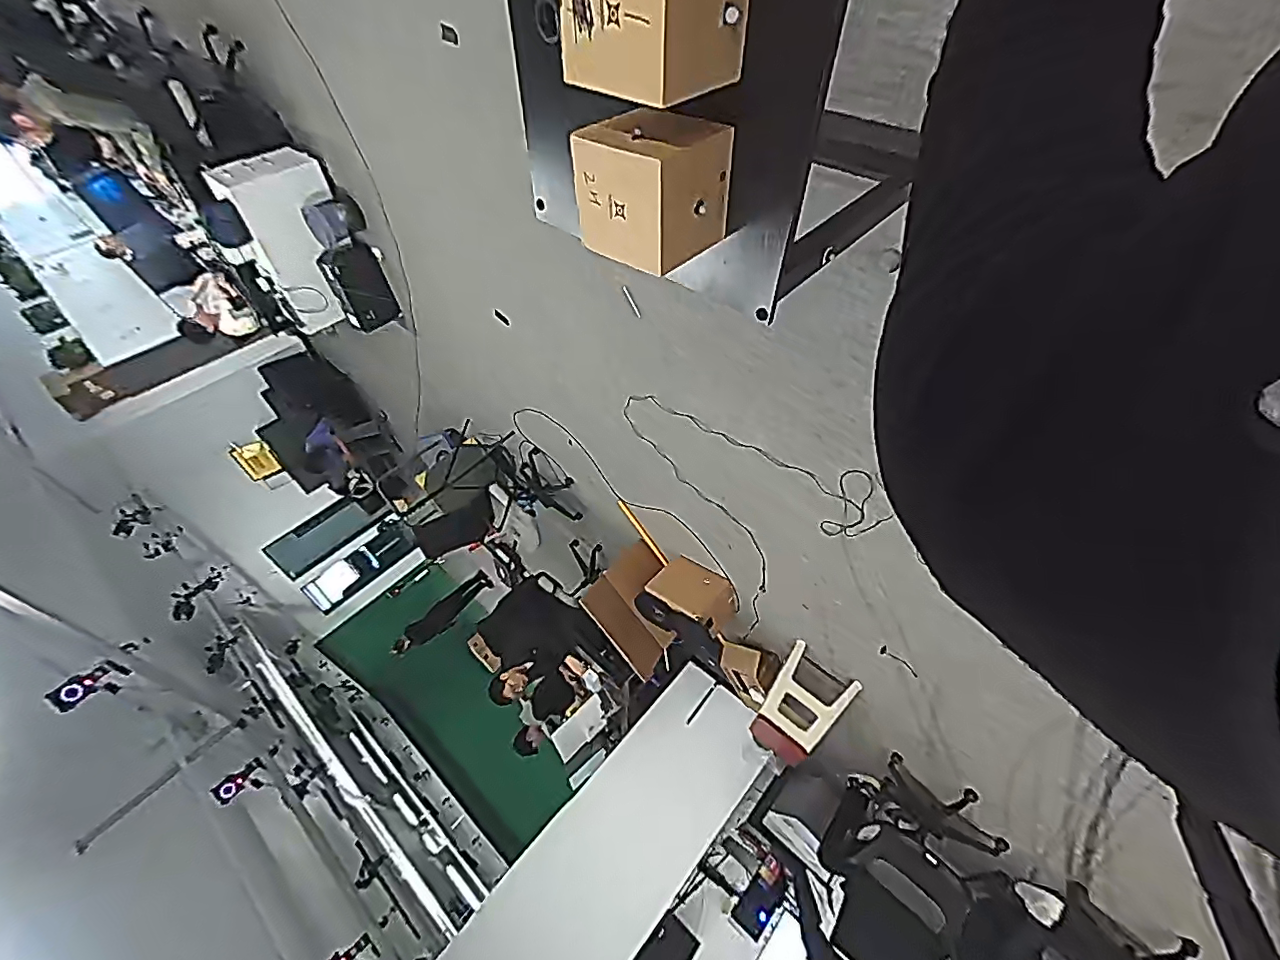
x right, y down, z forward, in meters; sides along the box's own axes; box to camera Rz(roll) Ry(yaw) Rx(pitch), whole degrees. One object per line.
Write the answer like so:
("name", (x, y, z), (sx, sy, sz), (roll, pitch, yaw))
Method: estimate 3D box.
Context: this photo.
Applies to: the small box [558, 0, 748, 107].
("small box", (0.016, -0.593, 0.667), (0.179, 0.176, 0.168), (34, 149, 25))
